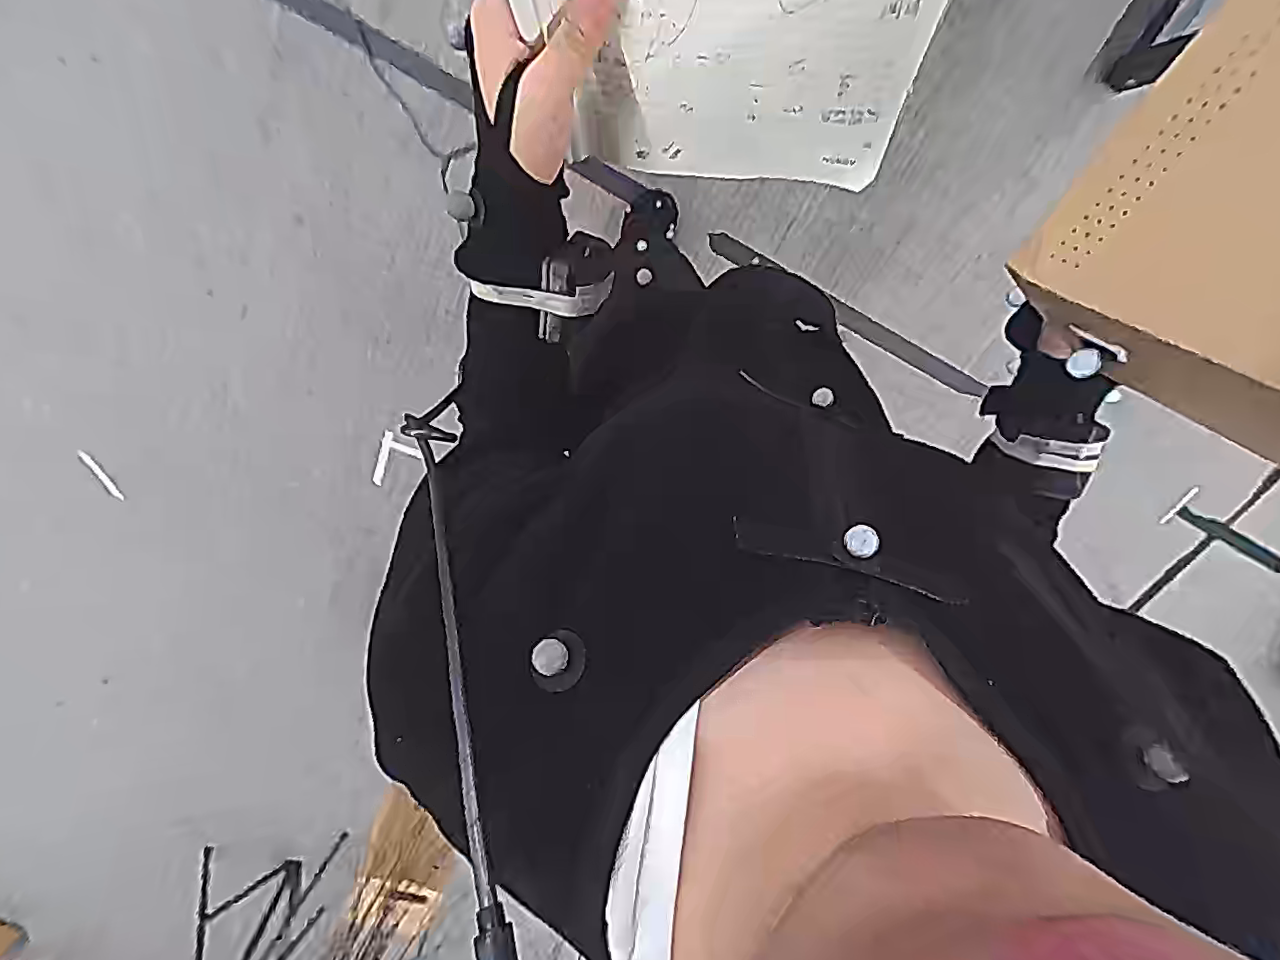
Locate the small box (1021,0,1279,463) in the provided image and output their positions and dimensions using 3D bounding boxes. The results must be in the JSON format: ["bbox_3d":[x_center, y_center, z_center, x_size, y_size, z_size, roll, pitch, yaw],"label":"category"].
[{"bbox_3d":[0.323,-0.108,0.233,0.168,0.176,0.179,13,122,-37],"label":"small box"}]

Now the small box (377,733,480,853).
[{"bbox_3d":[-0.505,0.756,1.317,0.168,0.176,0.179,26,111,-13],"label":"small box"}]
